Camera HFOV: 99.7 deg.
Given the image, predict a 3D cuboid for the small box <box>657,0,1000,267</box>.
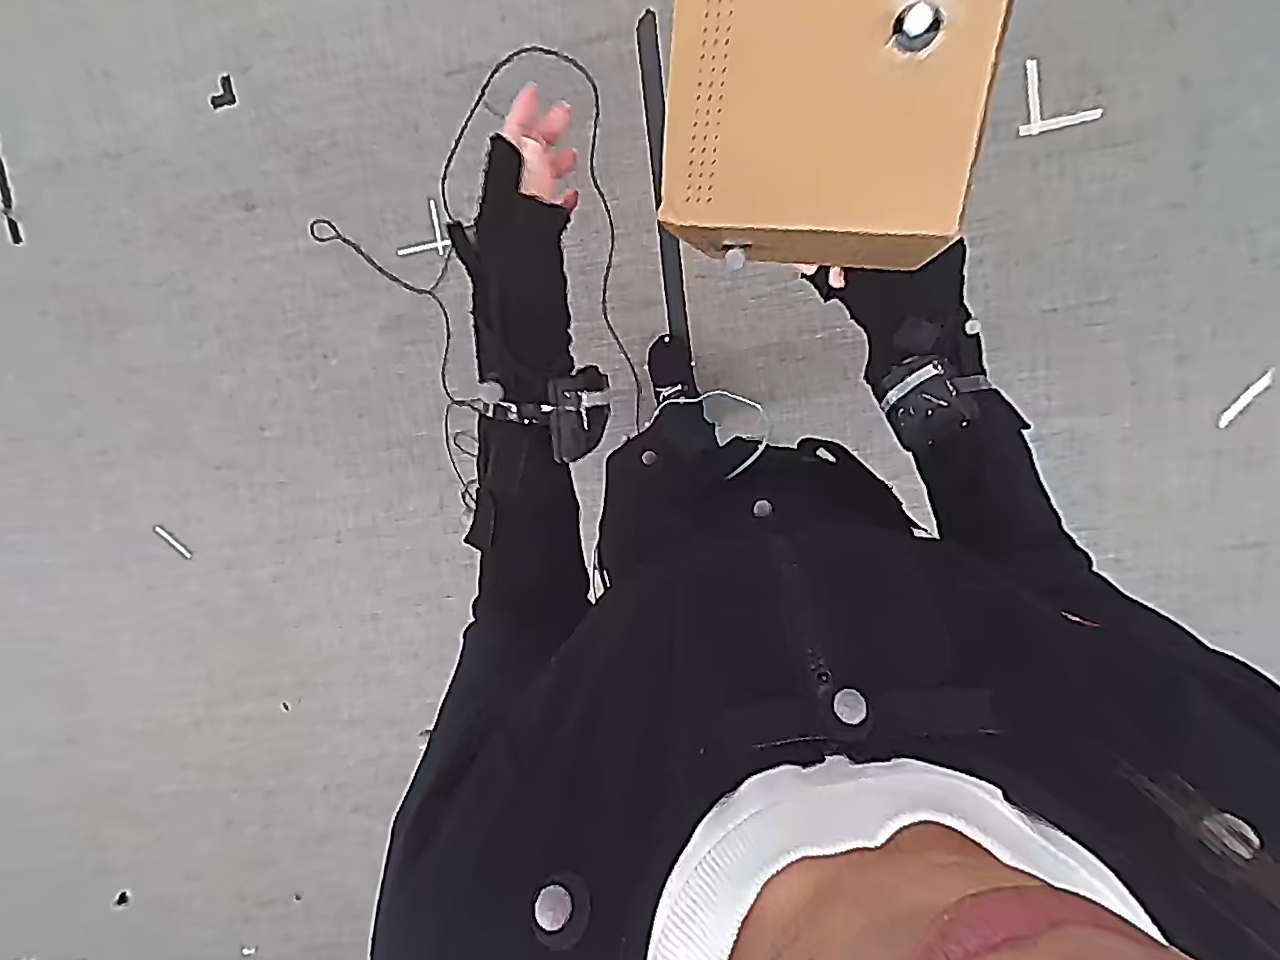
[{"bbox_3d":[0.114,-0.248,0.359,0.176,0.168,0.179,10,107,16],"label":"small box"}]
